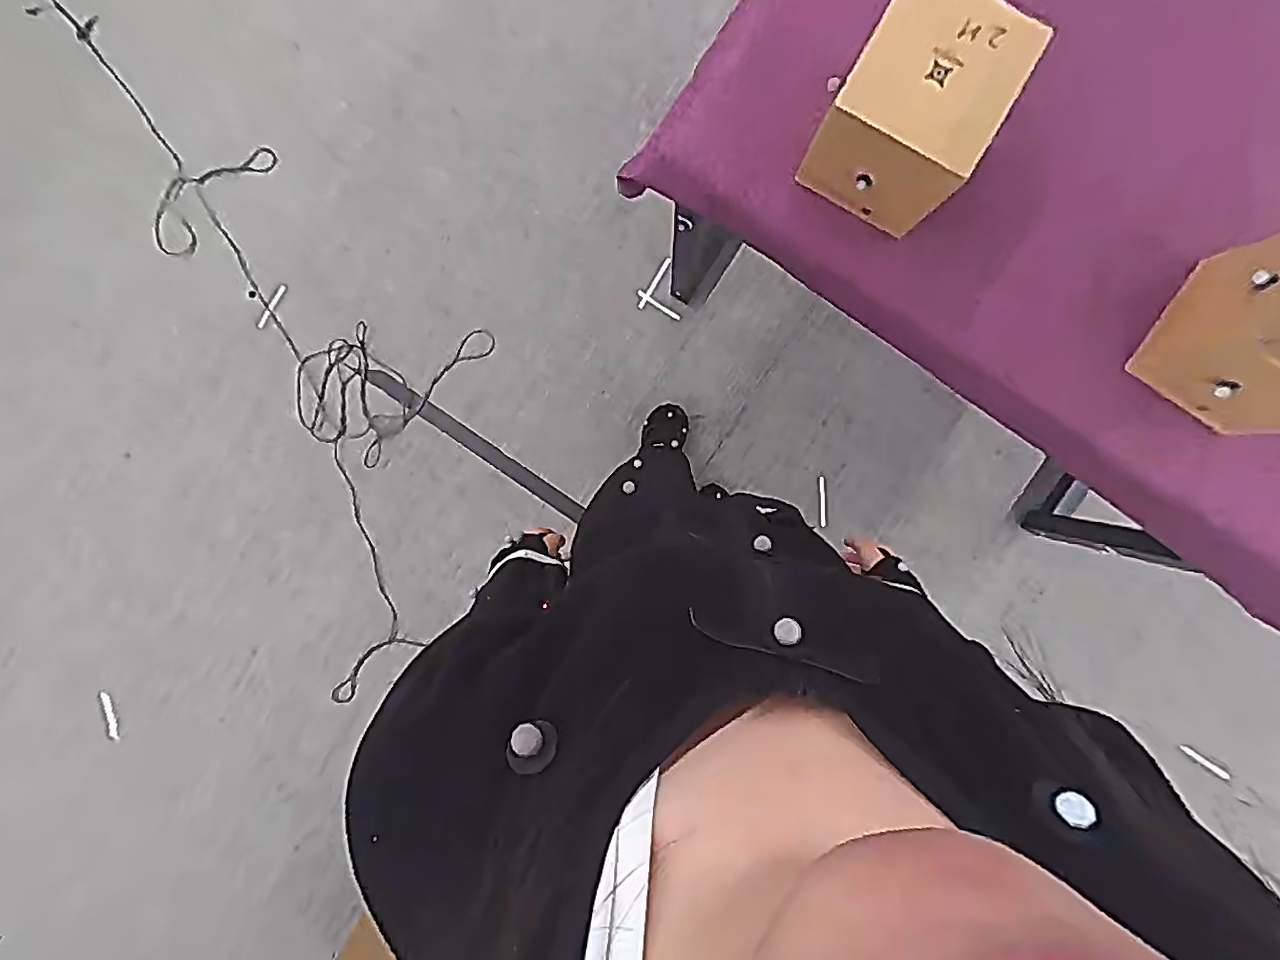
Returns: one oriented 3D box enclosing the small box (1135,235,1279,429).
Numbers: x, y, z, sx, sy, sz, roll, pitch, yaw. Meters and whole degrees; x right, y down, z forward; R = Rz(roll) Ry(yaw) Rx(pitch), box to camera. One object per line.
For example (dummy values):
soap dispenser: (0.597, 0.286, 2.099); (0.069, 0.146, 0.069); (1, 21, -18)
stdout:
small box: (0.768, -0.173, 0.652); (0.168, 0.176, 0.179); (34, 94, 0)

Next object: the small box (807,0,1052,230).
small box: (0.322, -0.439, 0.648); (0.168, 0.176, 0.179); (30, 93, -1)
